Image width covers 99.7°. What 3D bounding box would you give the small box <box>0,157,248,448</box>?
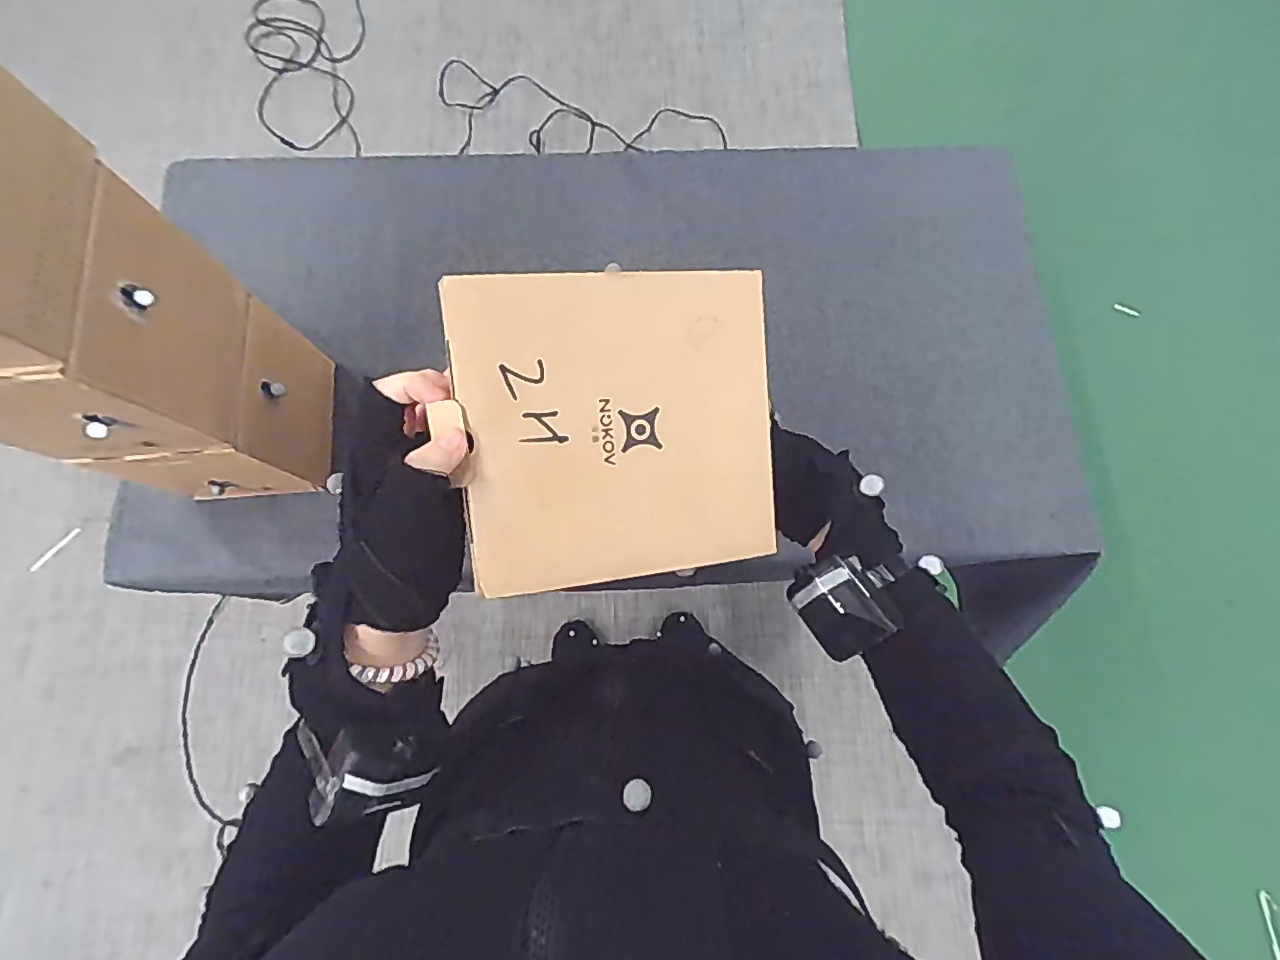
[{"bbox_3d":[-0.470,-0.130,0.454,0.168,0.176,0.179,-4,76,-2],"label":"small box"}]

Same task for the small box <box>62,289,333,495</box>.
[{"bbox_3d":[-0.473,-0.090,0.612,0.168,0.176,0.179,-4,77,-2],"label":"small box"}]

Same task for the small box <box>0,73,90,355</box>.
[{"bbox_3d":[-0.468,-0.176,0.296,0.168,0.176,0.179,-5,76,-3],"label":"small box"}]

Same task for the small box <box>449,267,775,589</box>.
[{"bbox_3d":[-0.027,-0.038,0.370,0.179,0.176,0.168,-5,97,-14],"label":"small box"}]
